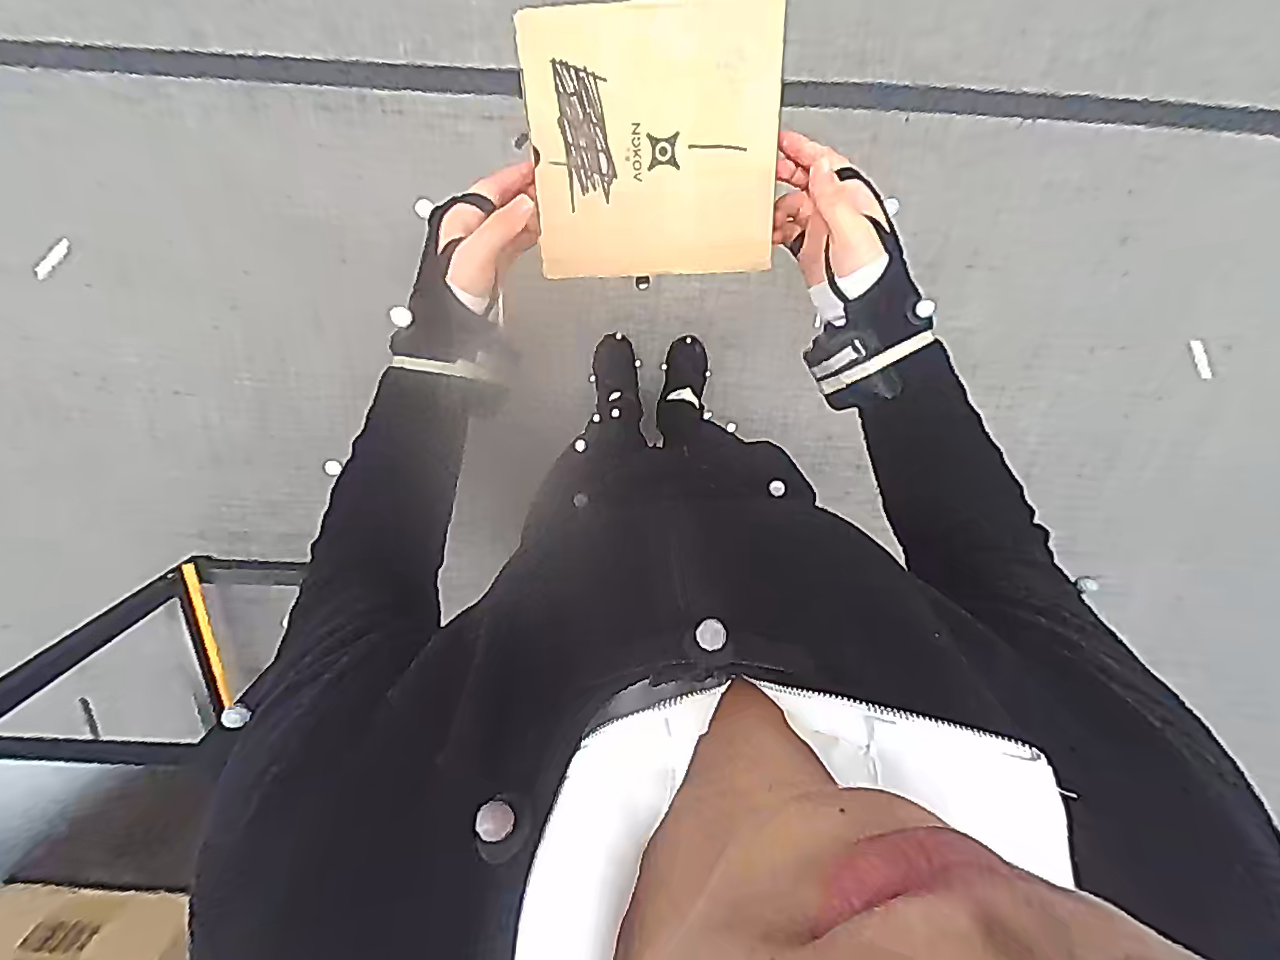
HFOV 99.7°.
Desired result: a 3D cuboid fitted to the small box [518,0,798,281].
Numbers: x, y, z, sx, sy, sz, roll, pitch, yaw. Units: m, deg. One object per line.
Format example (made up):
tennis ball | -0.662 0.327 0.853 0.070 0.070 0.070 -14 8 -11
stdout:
small box | 0.017 -0.257 0.438 0.179 0.176 0.168 0 117 4
